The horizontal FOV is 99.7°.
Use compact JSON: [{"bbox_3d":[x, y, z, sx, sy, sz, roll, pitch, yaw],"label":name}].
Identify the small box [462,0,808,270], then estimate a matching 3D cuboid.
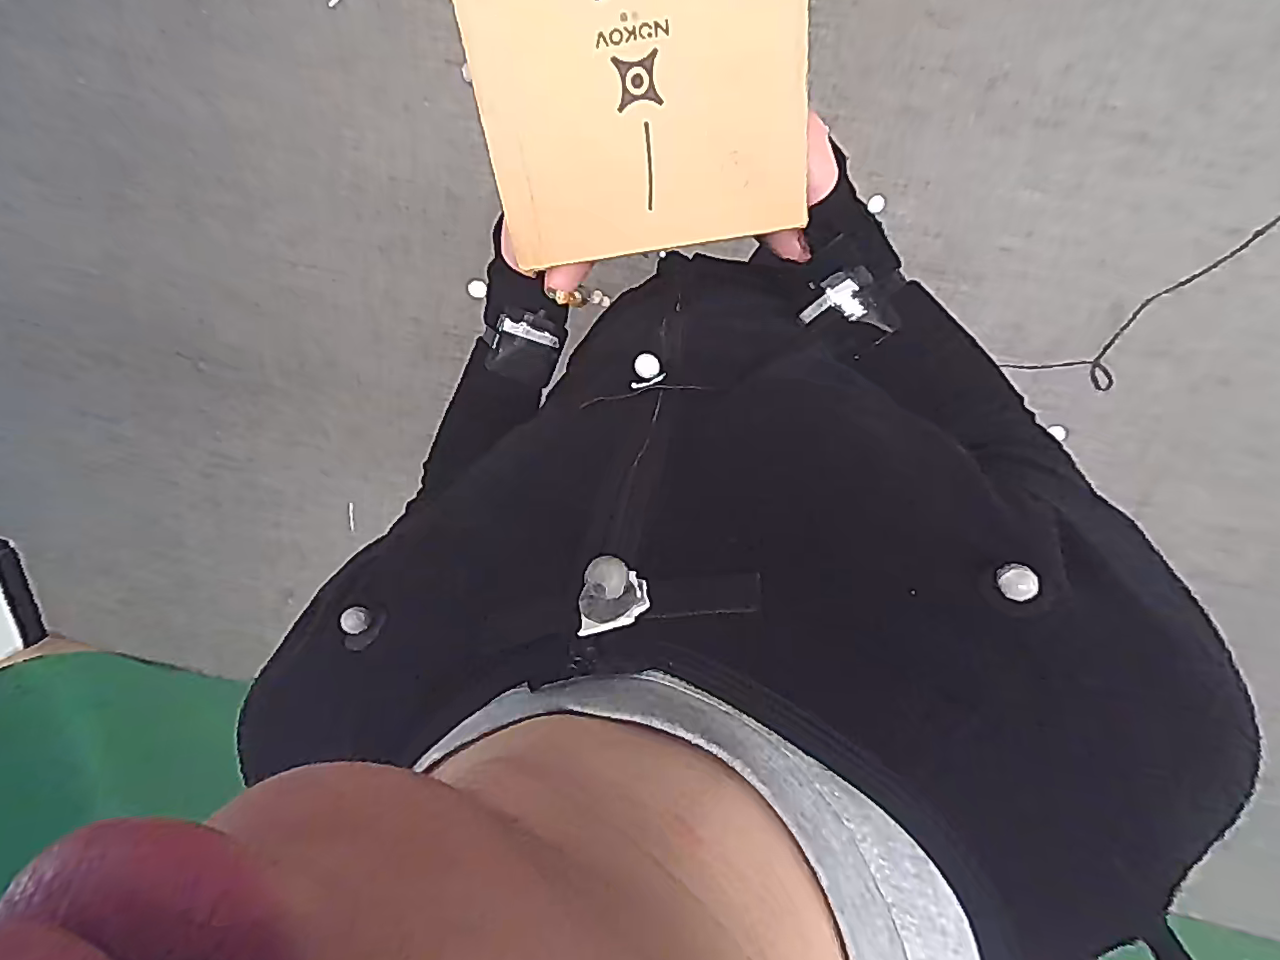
[{"bbox_3d":[0.000,-0.244,0.337,0.168,0.176,0.179,-7,120,4],"label":"small box"}]
